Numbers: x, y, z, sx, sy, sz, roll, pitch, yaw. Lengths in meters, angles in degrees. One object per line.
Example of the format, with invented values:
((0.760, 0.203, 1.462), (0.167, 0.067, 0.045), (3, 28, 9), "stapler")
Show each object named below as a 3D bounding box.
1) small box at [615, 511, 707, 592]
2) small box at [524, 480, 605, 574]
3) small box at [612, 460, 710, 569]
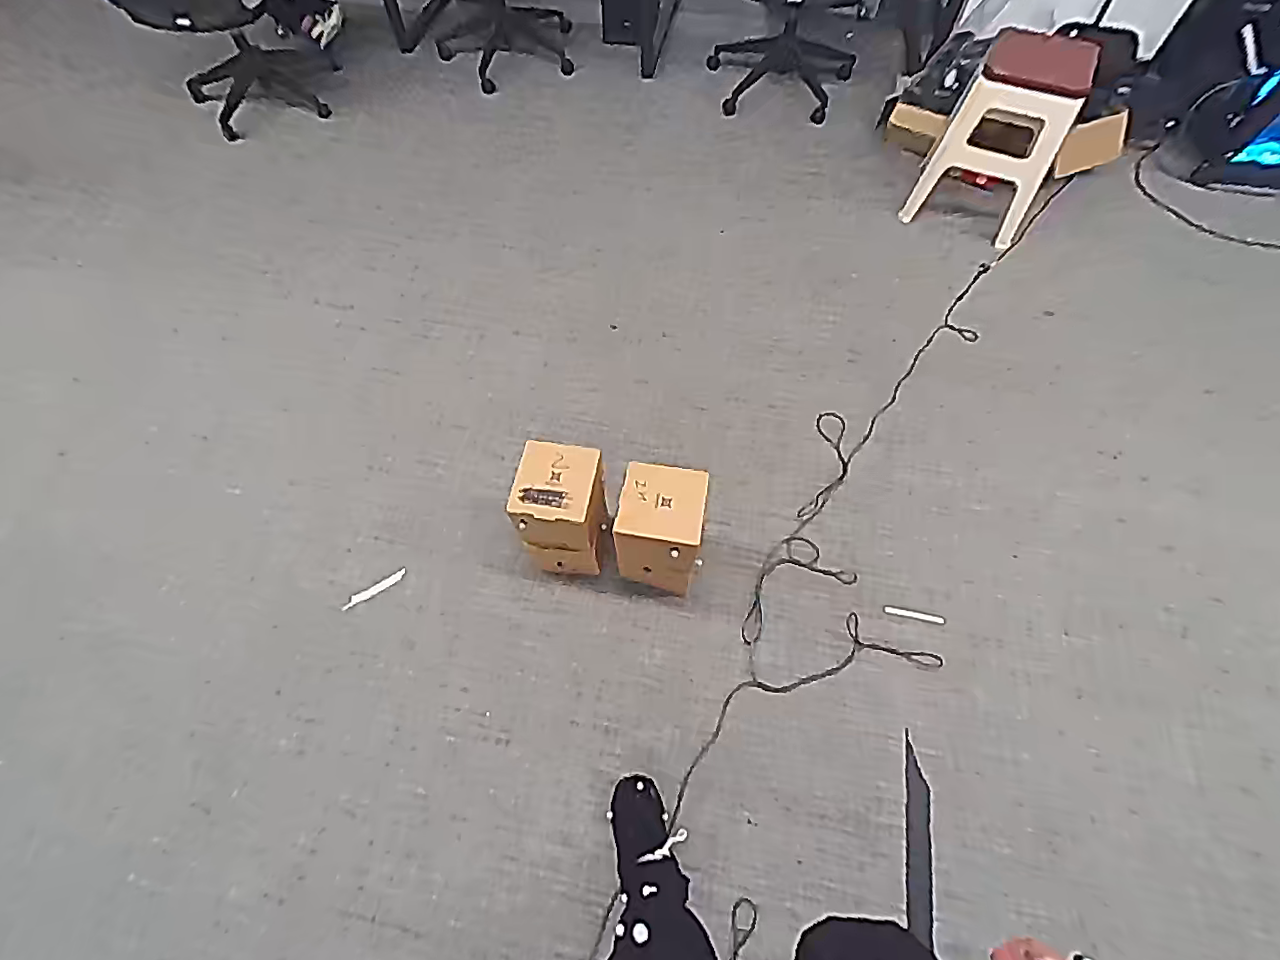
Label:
((0.051, 0.157, 1.308), (0.179, 0.176, 0.168), (15, 64, 8), "small box")
((-0.178, 0.119, 1.336), (0.168, 0.176, 0.179), (4, 63, 3), "small box")
((0.046, 0.080, 1.162), (0.179, 0.176, 0.168), (9, 62, 7), "small box")
